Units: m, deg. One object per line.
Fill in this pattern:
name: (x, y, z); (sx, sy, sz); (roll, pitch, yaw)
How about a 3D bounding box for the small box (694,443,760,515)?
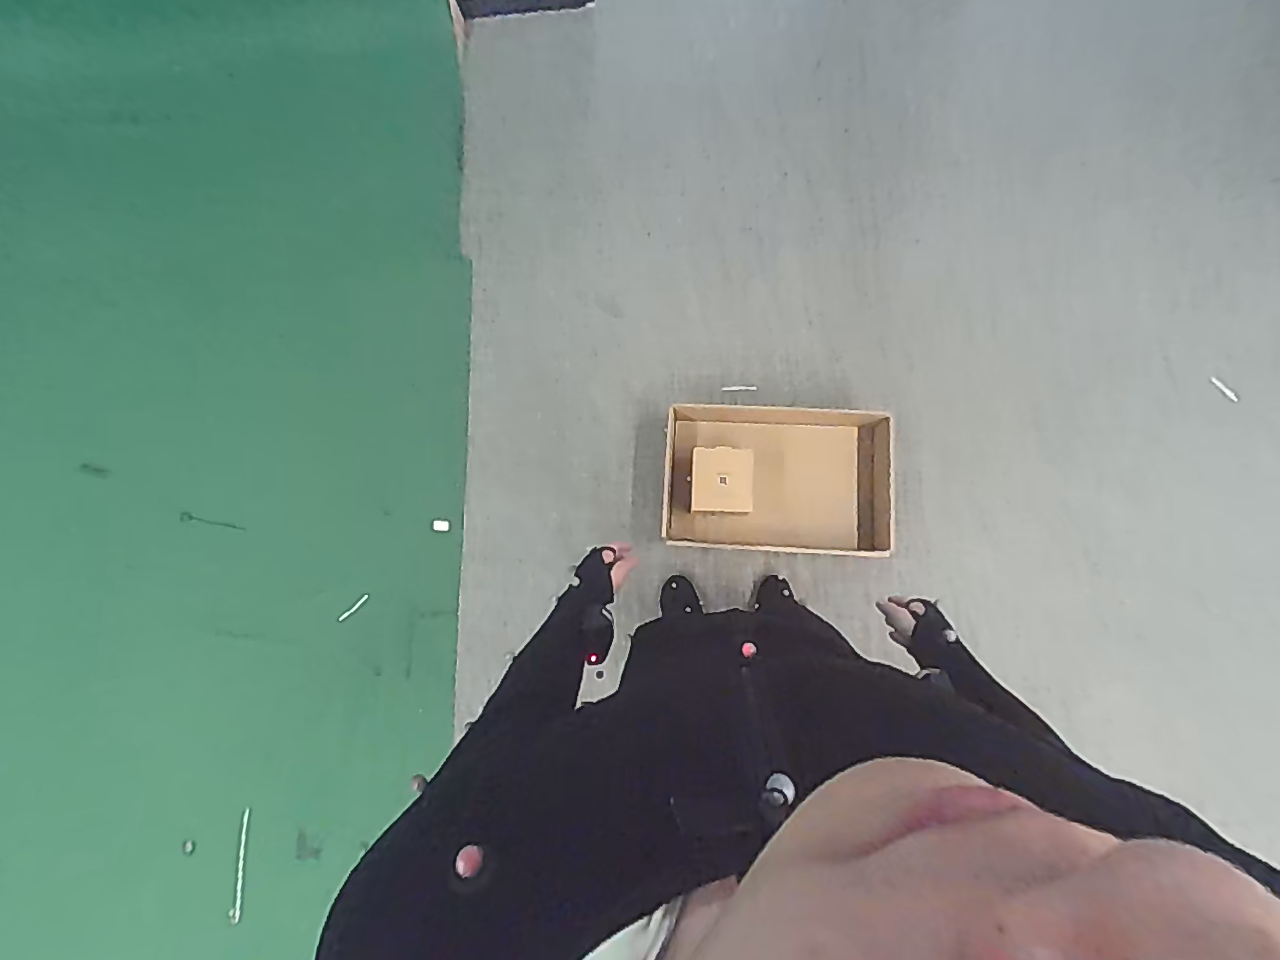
small box: (0.240, 0.002, 1.518); (0.168, 0.176, 0.179); (3, 83, 6)
